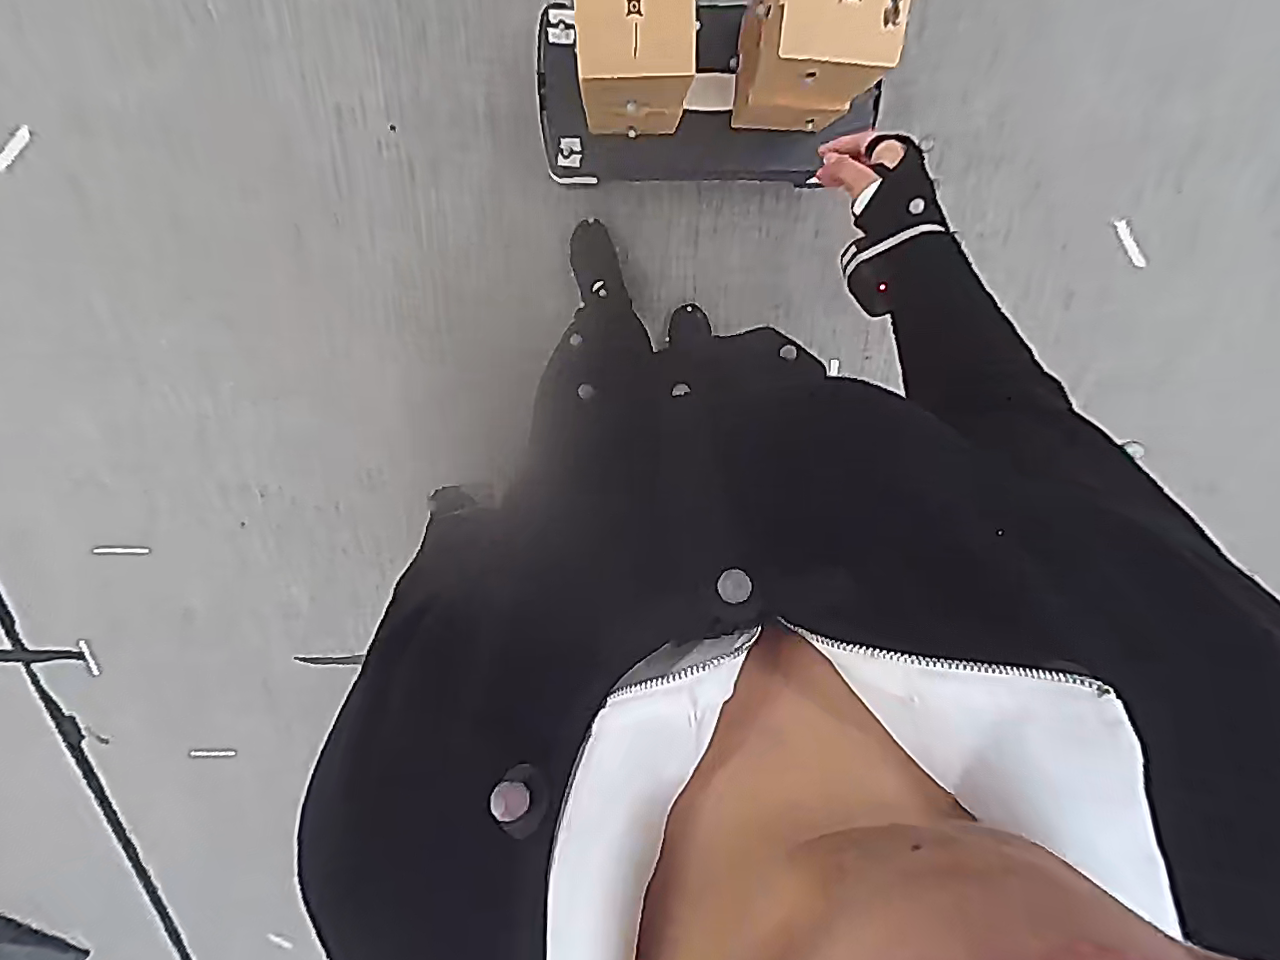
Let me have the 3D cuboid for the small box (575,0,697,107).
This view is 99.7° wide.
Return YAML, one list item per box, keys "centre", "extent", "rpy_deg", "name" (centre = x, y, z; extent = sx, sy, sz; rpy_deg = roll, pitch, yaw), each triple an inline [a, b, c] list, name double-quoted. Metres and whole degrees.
- centre: [-0.010, -0.670, 0.789]
  extent: [0.168, 0.176, 0.179]
  rpy_deg: [-3, 113, -1]
  name: "small box"

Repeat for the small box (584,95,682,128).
- centre: [-0.015, -0.727, 0.943]
  extent: [0.168, 0.176, 0.179]
  rpy_deg: [-1, 113, -2]
  name: "small box"

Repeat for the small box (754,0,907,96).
- centre: [0.275, -0.689, 0.797]
  extent: [0.179, 0.176, 0.168]
  rpy_deg: [3, 112, -2]
  name: "small box"

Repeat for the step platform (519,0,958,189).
- centre: [0.151, -0.673, 0.935]
  extent: [0.684, 0.204, 0.286]
  rpy_deg: [-1, 112, -2]
  name: "step platform"

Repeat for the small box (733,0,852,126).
- centre: [0.266, -0.732, 0.954]
  extent: [0.179, 0.176, 0.168]
  rpy_deg: [-1, 111, -2]
  name: "small box"
